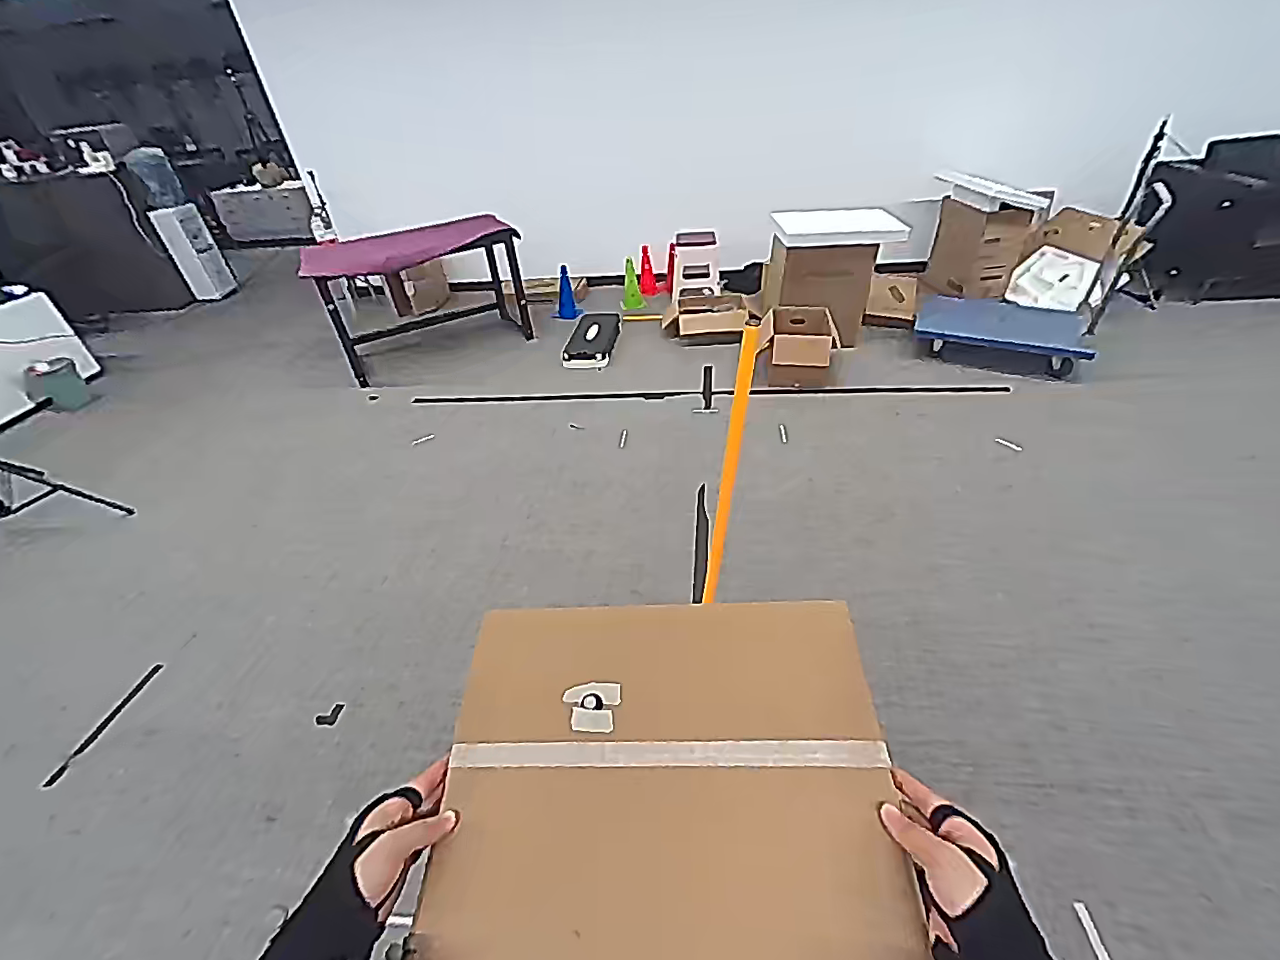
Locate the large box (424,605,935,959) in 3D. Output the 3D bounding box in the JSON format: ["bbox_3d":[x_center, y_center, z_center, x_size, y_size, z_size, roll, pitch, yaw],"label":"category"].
[{"bbox_3d":[0.043,0.366,0.621,0.408,0.320,0.320,-4,46,6],"label":"large box"}]
